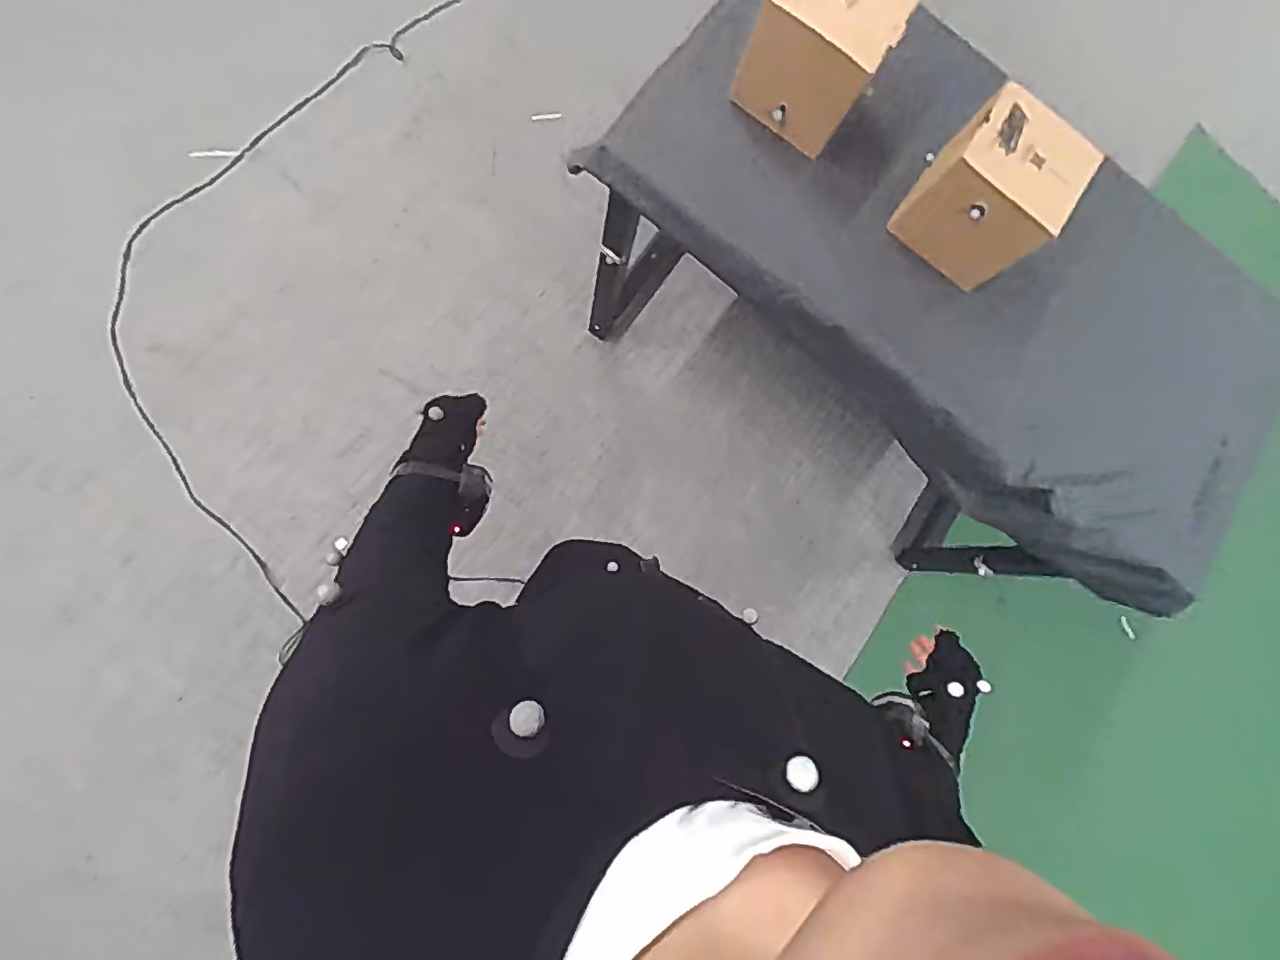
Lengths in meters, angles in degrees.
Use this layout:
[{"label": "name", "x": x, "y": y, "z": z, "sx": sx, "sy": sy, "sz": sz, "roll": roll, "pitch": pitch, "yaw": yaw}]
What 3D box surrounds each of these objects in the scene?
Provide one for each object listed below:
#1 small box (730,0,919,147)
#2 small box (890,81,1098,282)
[{"label": "small box", "x": 0.267, "y": -0.649, "z": 0.816, "sx": 0.179, "sy": 0.176, "sz": 0.168, "roll": 34, "pitch": 79, "yaw": -4}, {"label": "small box", "x": 0.529, "y": -0.443, "z": 0.832, "sx": 0.179, "sy": 0.176, "sz": 0.168, "roll": 36, "pitch": 79, "yaw": -4}]
